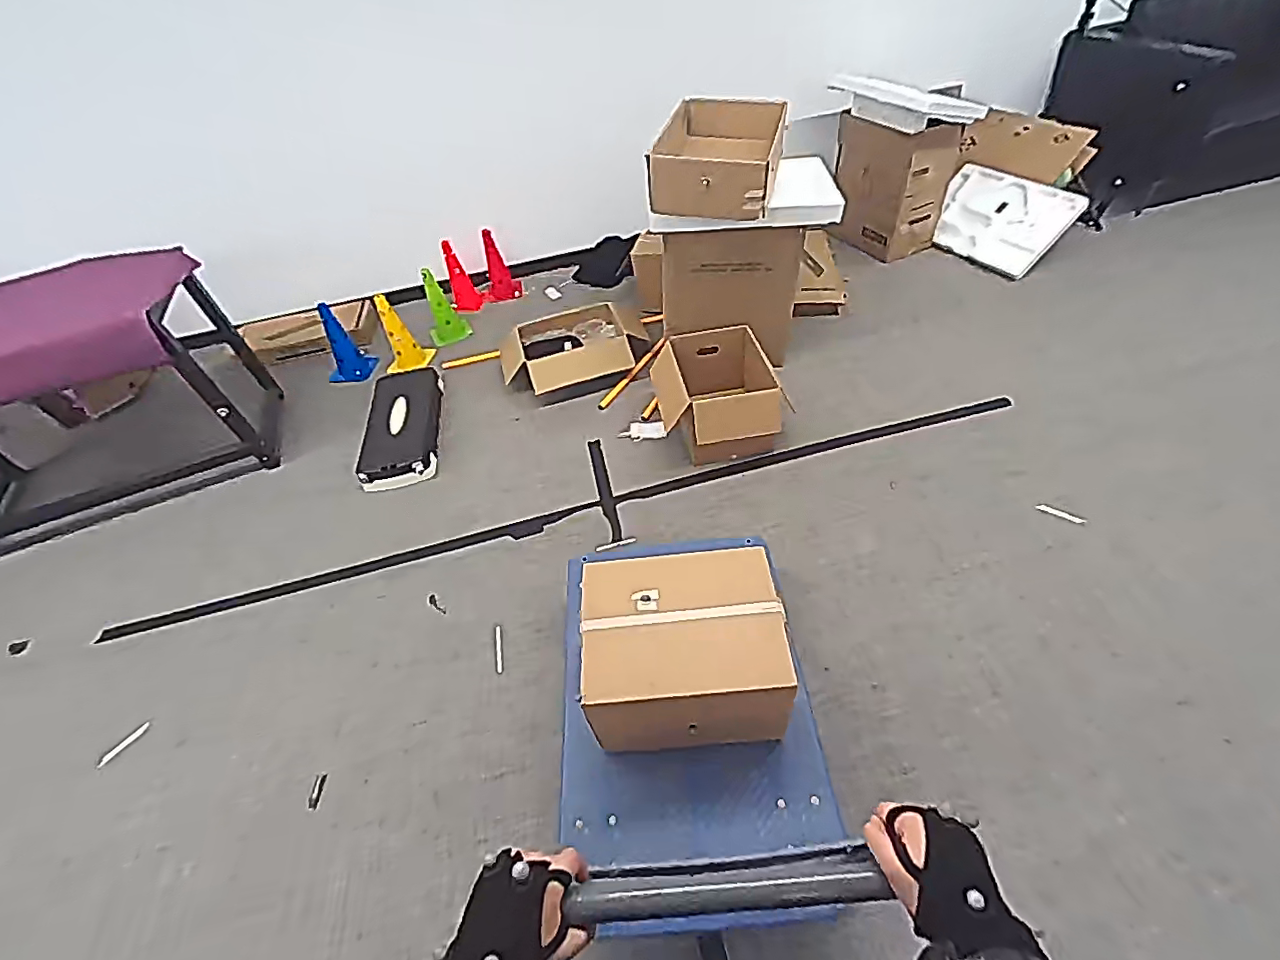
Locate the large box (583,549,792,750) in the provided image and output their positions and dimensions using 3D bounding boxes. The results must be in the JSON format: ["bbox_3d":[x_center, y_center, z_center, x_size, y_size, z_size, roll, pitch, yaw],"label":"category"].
[{"bbox_3d":[0.098,0.390,1.226,0.408,0.320,0.320,-7,47,3],"label":"large box"}]
